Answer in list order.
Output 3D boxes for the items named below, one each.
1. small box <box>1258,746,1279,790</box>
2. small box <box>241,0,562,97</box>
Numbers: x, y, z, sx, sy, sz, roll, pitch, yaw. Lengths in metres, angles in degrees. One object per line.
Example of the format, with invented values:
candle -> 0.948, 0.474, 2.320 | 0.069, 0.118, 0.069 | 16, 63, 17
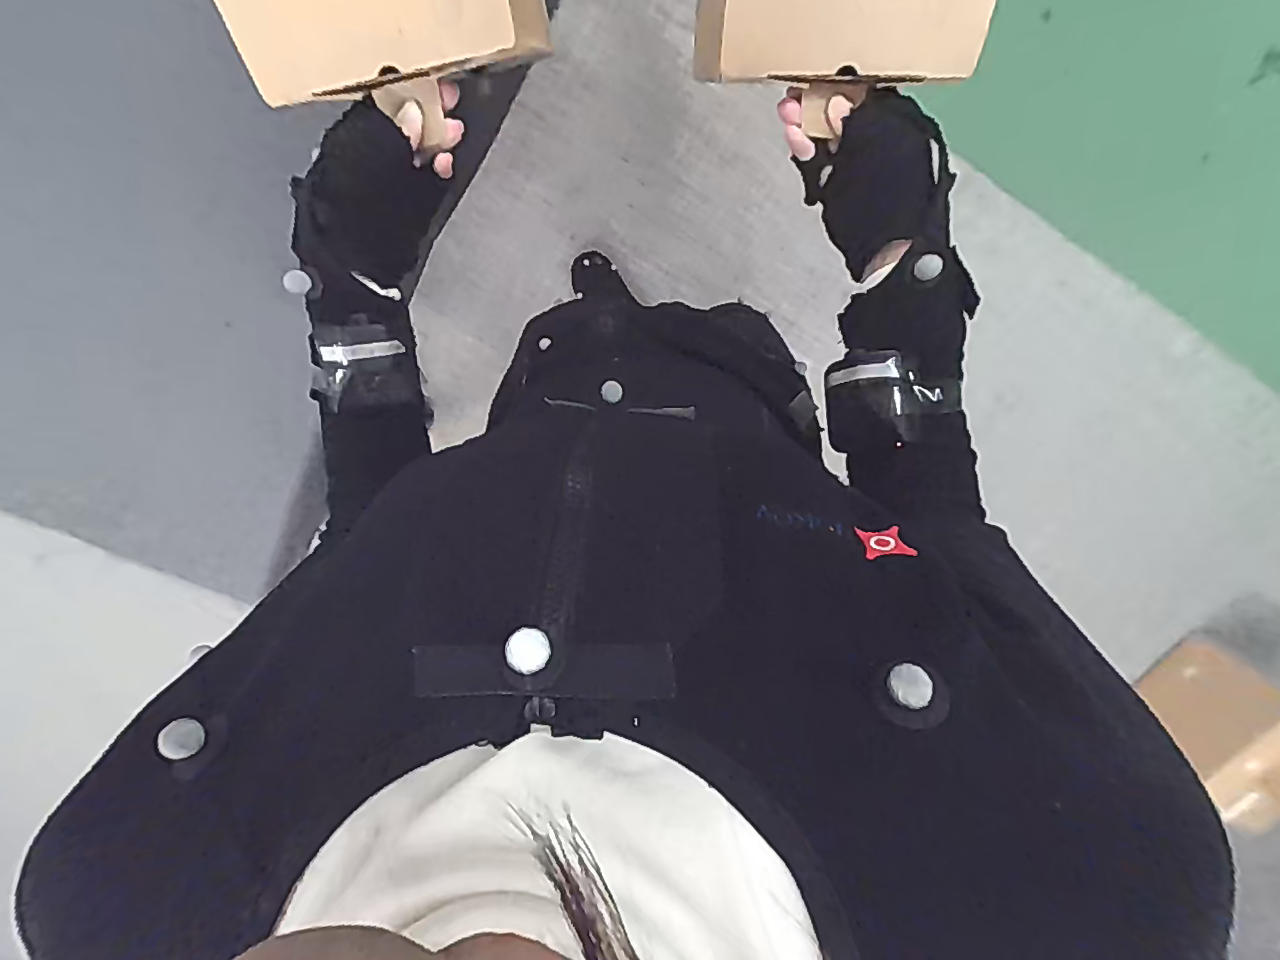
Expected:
small box -> 1.821, 0.806, 1.430 | 0.168, 0.176, 0.179 | 34, 108, -10
small box -> -0.154, -0.366, 0.341 | 0.168, 0.176, 0.179 | -8, 126, 6
